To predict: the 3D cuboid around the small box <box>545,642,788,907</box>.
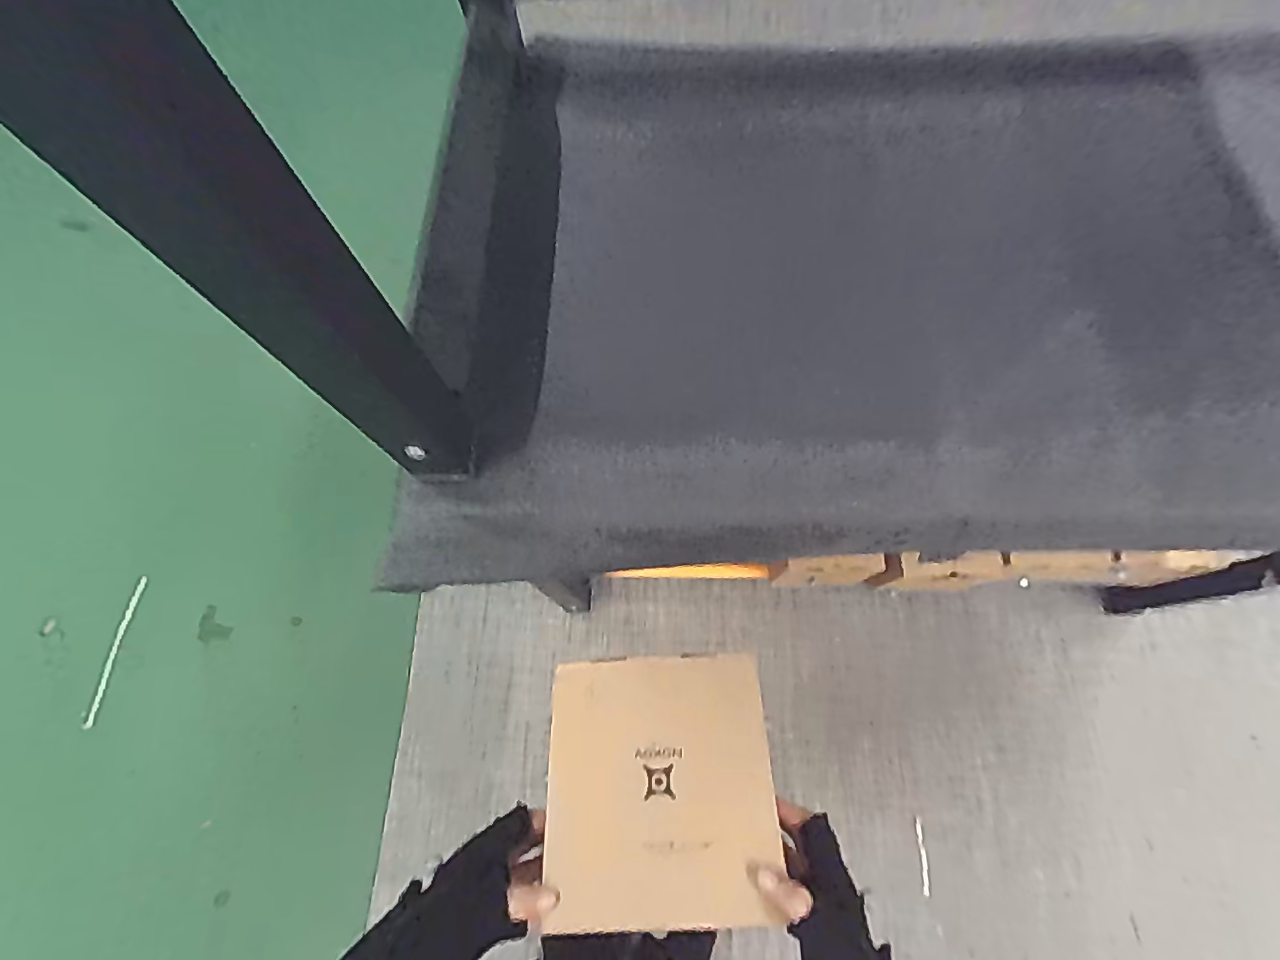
[{"bbox_3d":[0.022,0.256,0.472,0.168,0.176,0.179,-4,56,4],"label":"small box"}]
